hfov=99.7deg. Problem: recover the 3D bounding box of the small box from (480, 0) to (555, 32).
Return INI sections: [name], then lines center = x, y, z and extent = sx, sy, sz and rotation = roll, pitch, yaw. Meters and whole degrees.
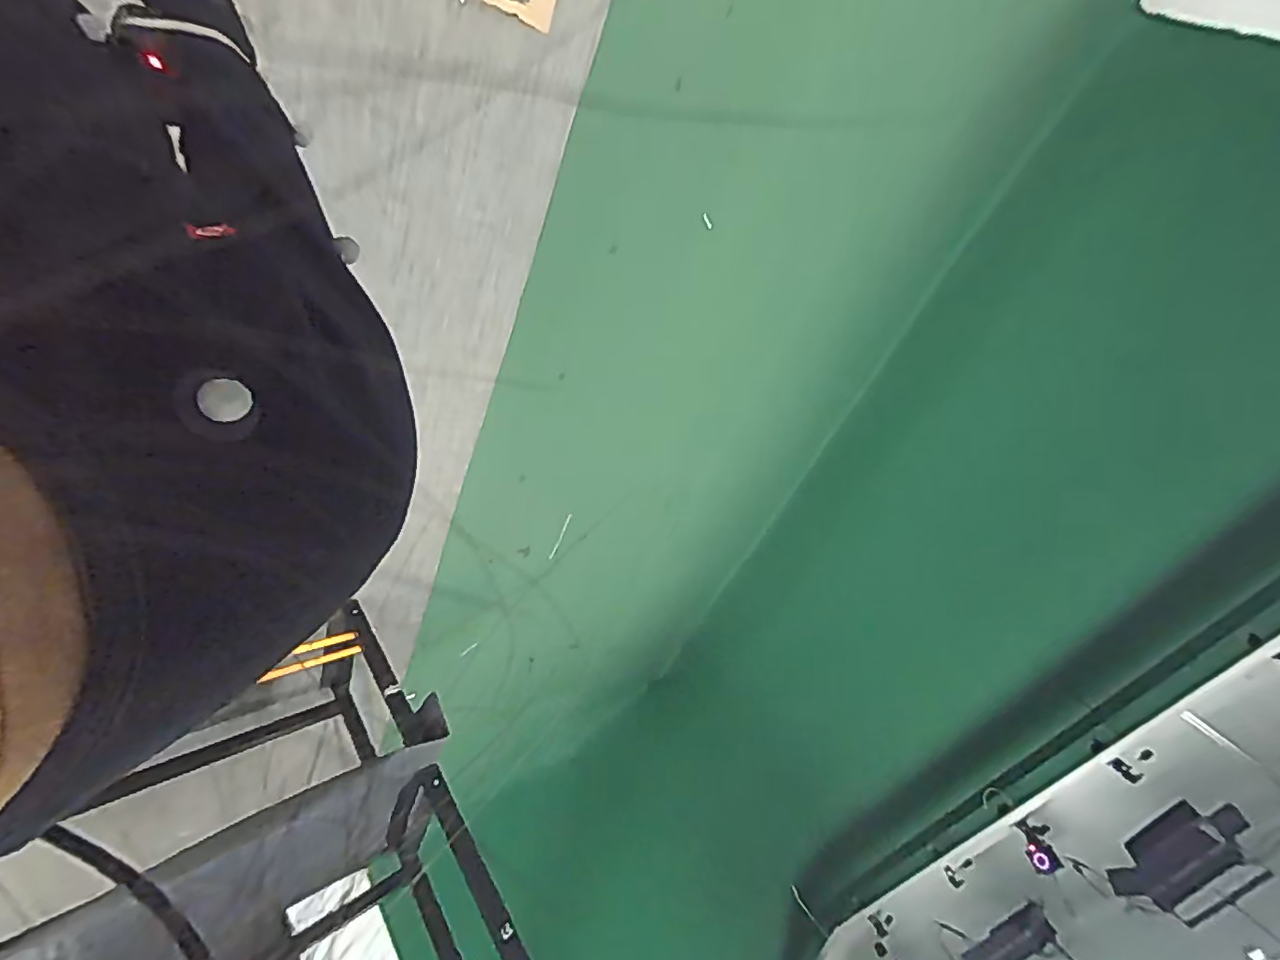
[small box]
center = -0.273, -1.066, 1.097
extent = 0.168, 0.176, 0.179
rotation = -11, 136, -45
